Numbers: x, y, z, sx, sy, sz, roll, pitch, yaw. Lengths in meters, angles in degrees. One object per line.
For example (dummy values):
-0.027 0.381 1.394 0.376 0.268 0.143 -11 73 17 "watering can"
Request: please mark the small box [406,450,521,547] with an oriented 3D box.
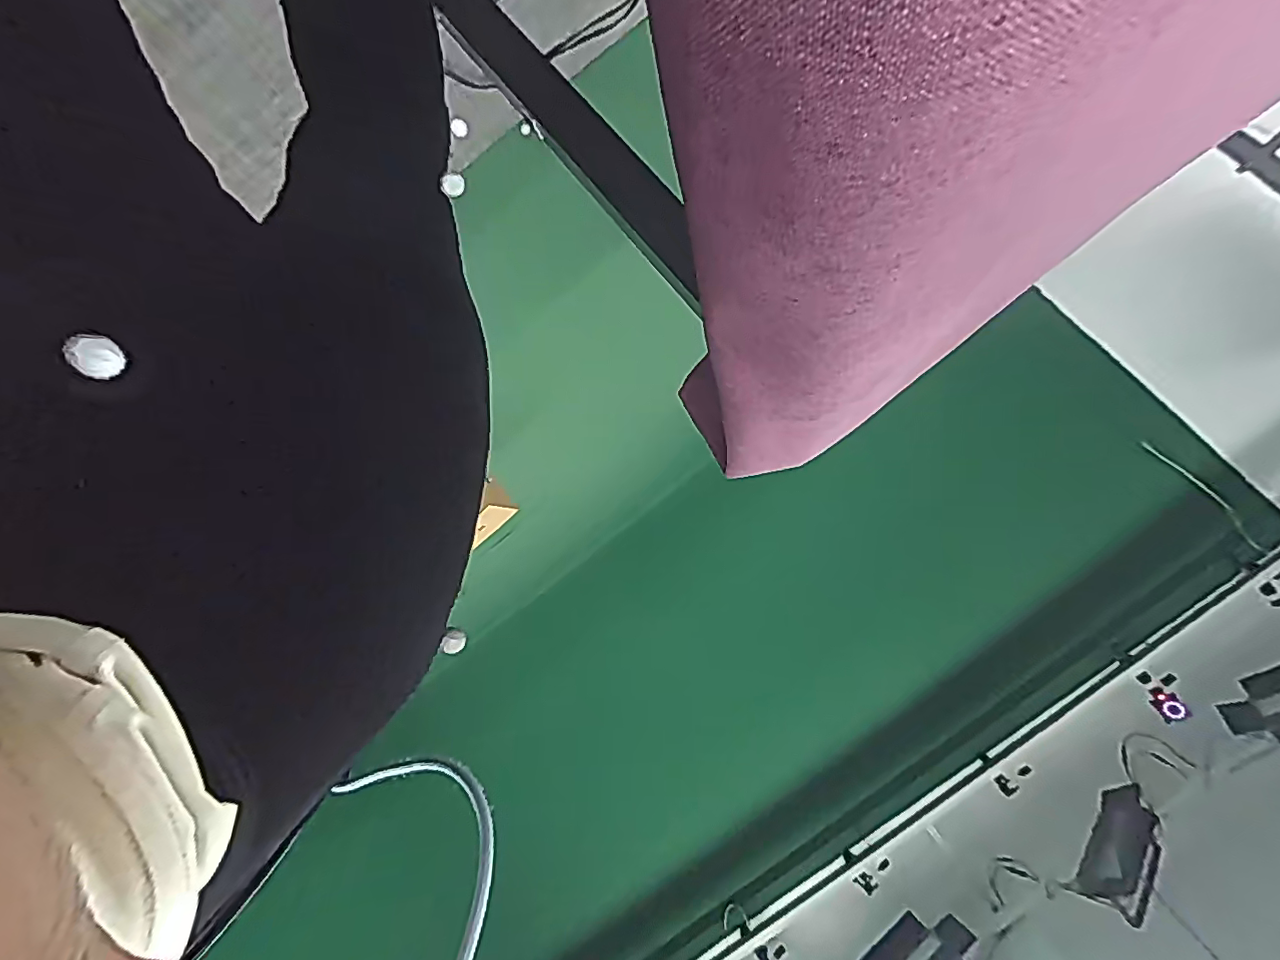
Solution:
-0.436 0.048 1.337 0.179 0.176 0.168 -39 167 5 "small box"
